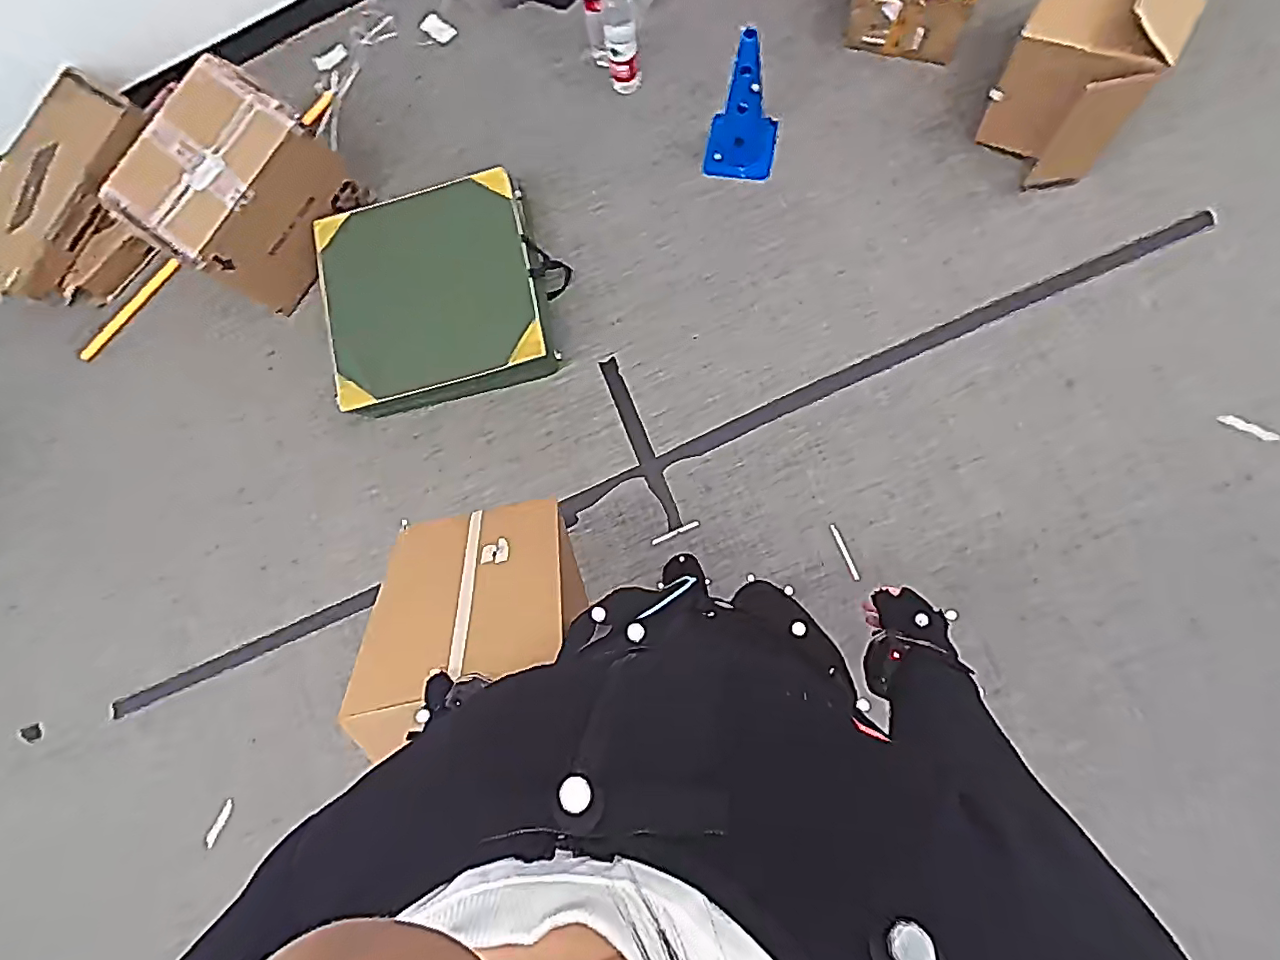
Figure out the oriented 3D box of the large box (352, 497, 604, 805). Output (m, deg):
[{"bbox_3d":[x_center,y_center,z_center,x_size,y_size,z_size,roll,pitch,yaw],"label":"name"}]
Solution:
[{"bbox_3d":[-0.259,0.293,0.990,0.320,0.408,0.320,-10,125,-3],"label":"large box"}]
